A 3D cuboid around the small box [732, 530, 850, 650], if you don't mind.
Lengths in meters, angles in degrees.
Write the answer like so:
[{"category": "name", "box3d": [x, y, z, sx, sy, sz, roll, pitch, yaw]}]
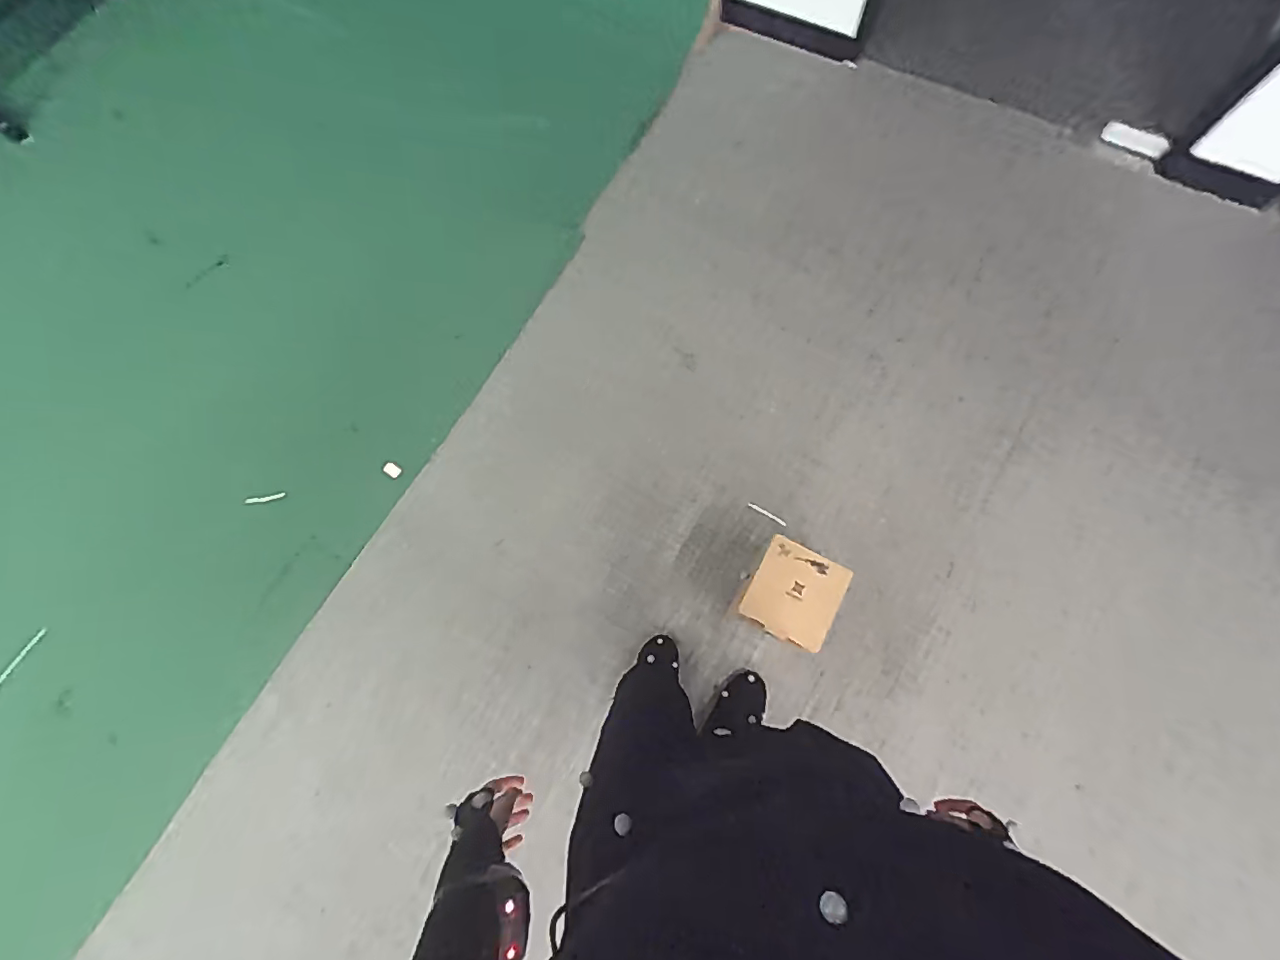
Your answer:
[{"category": "small box", "box3d": [0.299, 0.227, 1.111, 0.168, 0.176, 0.179, 28, 80, 11]}]
